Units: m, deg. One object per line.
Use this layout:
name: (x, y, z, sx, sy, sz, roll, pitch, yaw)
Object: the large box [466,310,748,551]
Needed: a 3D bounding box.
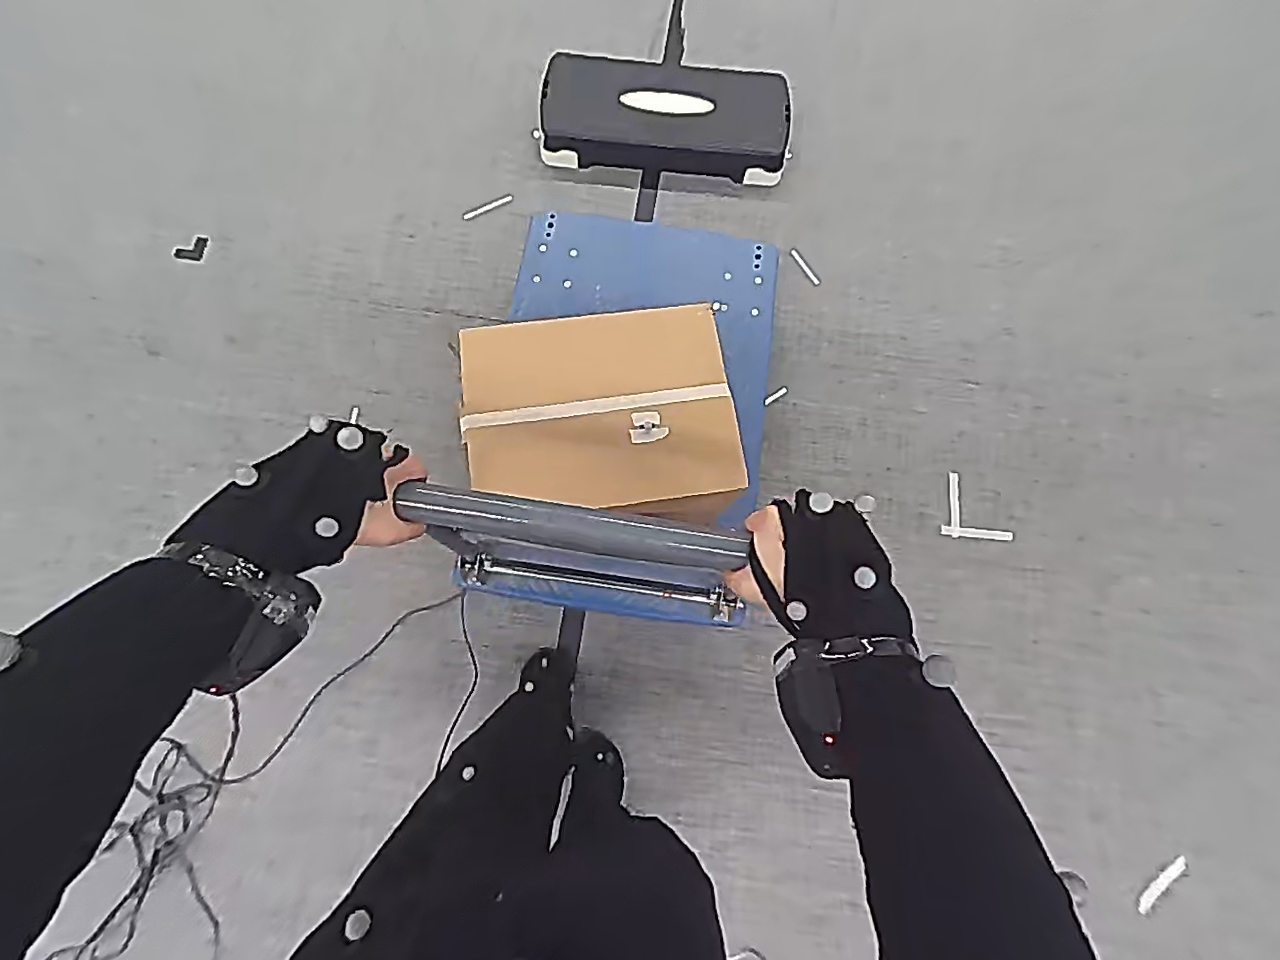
large box: (-0.065, -0.069, 0.971, 0.408, 0.320, 0.320, -7, 77, -6)
